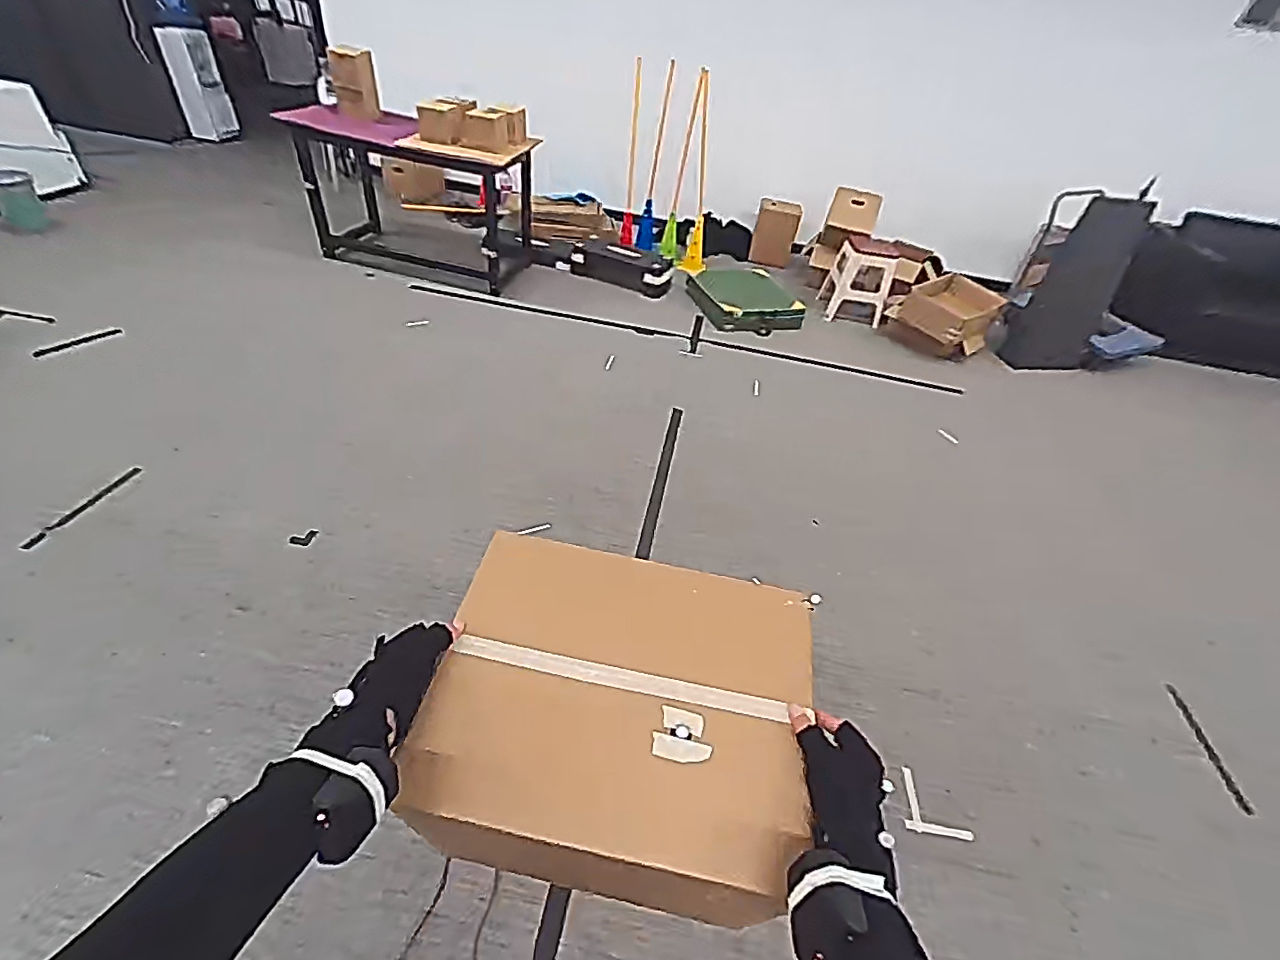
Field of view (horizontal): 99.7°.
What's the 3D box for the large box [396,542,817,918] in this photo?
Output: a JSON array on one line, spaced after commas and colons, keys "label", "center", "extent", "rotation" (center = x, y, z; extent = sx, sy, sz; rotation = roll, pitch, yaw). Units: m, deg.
[{"label": "large box", "center": [-0.026, 0.323, 0.702], "extent": [0.408, 0.320, 0.320], "rotation": [11, 48, 3]}]
